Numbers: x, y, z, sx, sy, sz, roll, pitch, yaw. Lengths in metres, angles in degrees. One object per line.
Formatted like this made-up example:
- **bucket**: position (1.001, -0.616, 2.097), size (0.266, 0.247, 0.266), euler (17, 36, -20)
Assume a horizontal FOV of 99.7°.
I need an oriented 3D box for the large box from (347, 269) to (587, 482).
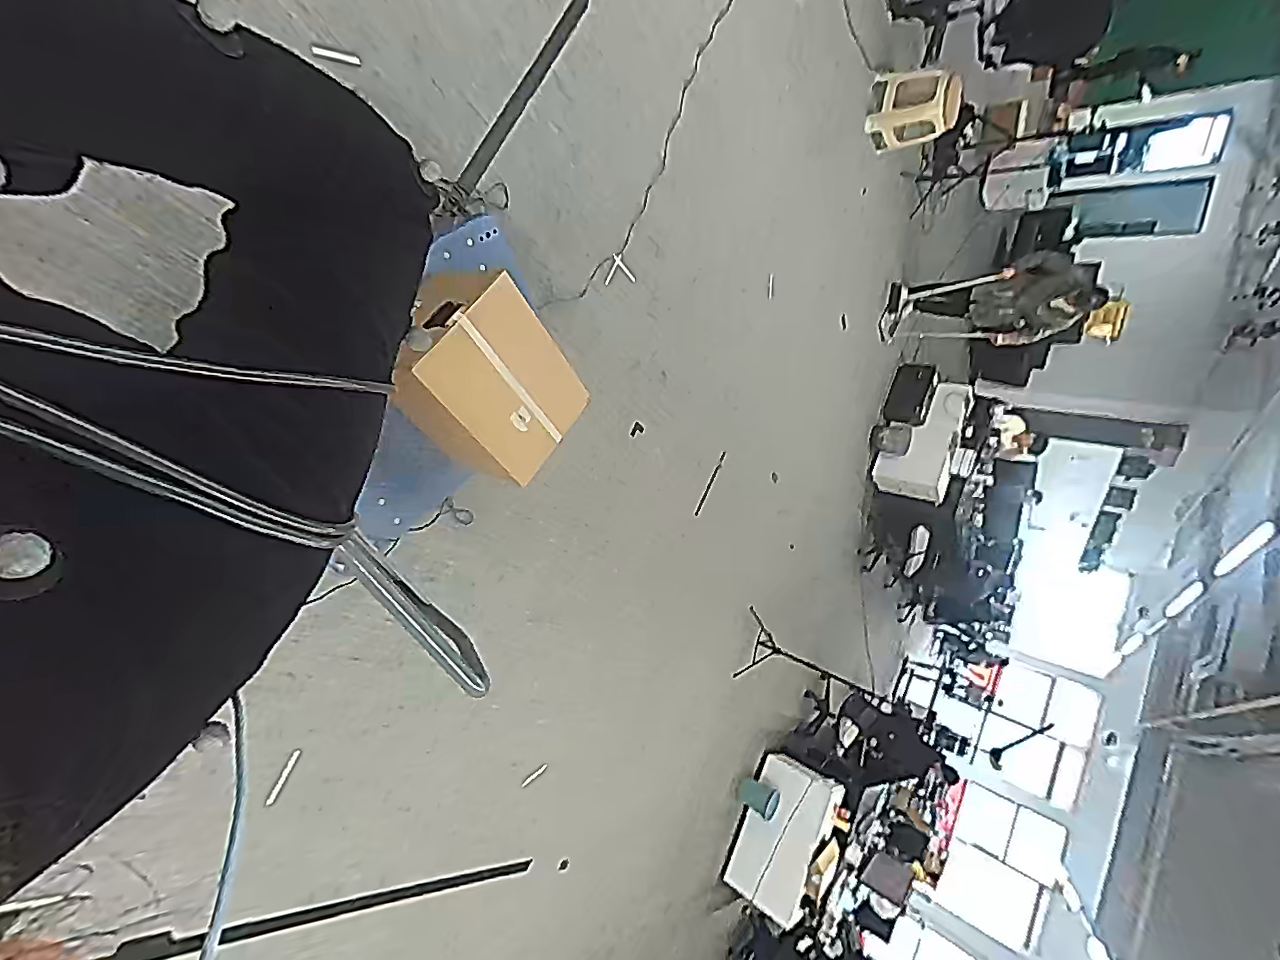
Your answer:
- **large box**: position (-0.410, -0.255, 1.337), size (0.320, 0.320, 0.408), euler (-56, 139, -21)
